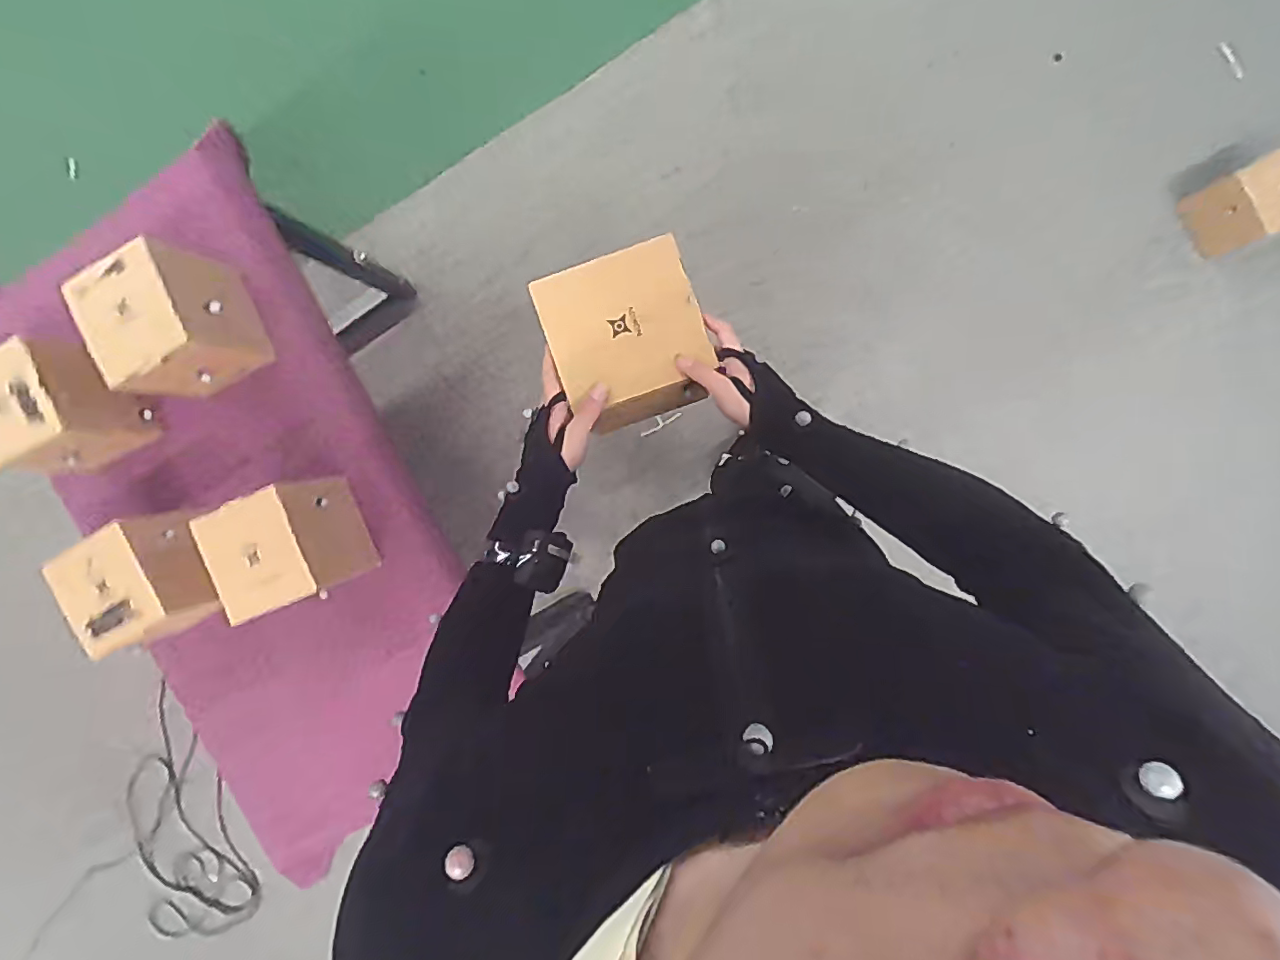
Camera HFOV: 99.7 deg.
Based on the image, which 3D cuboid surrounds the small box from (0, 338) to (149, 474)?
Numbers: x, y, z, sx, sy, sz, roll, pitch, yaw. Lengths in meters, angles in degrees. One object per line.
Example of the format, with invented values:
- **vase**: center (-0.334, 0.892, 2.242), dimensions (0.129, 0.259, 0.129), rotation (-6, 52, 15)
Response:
- **small box**: center (-0.999, -0.121, 0.922), dimensions (0.179, 0.176, 0.168), rotation (-23, 91, 8)

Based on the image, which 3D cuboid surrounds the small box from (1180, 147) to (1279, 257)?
- **small box**: center (1.514, -0.689, 1.335), dimensions (0.168, 0.176, 0.179), rotation (-29, 91, 8)

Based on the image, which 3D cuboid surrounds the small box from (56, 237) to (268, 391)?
- **small box**: center (-0.766, -0.256, 0.886), dimensions (0.168, 0.176, 0.179), rotation (-24, 92, 8)

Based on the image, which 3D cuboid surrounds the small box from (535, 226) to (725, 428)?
- **small box**: center (-0.009, -0.174, 0.673), dimensions (0.179, 0.176, 0.168), rotation (-18, 87, 0)

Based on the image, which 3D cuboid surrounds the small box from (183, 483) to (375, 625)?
- **small box**: center (-0.581, 0.110, 0.893), dimensions (0.168, 0.176, 0.179), rotation (-21, 92, 9)
